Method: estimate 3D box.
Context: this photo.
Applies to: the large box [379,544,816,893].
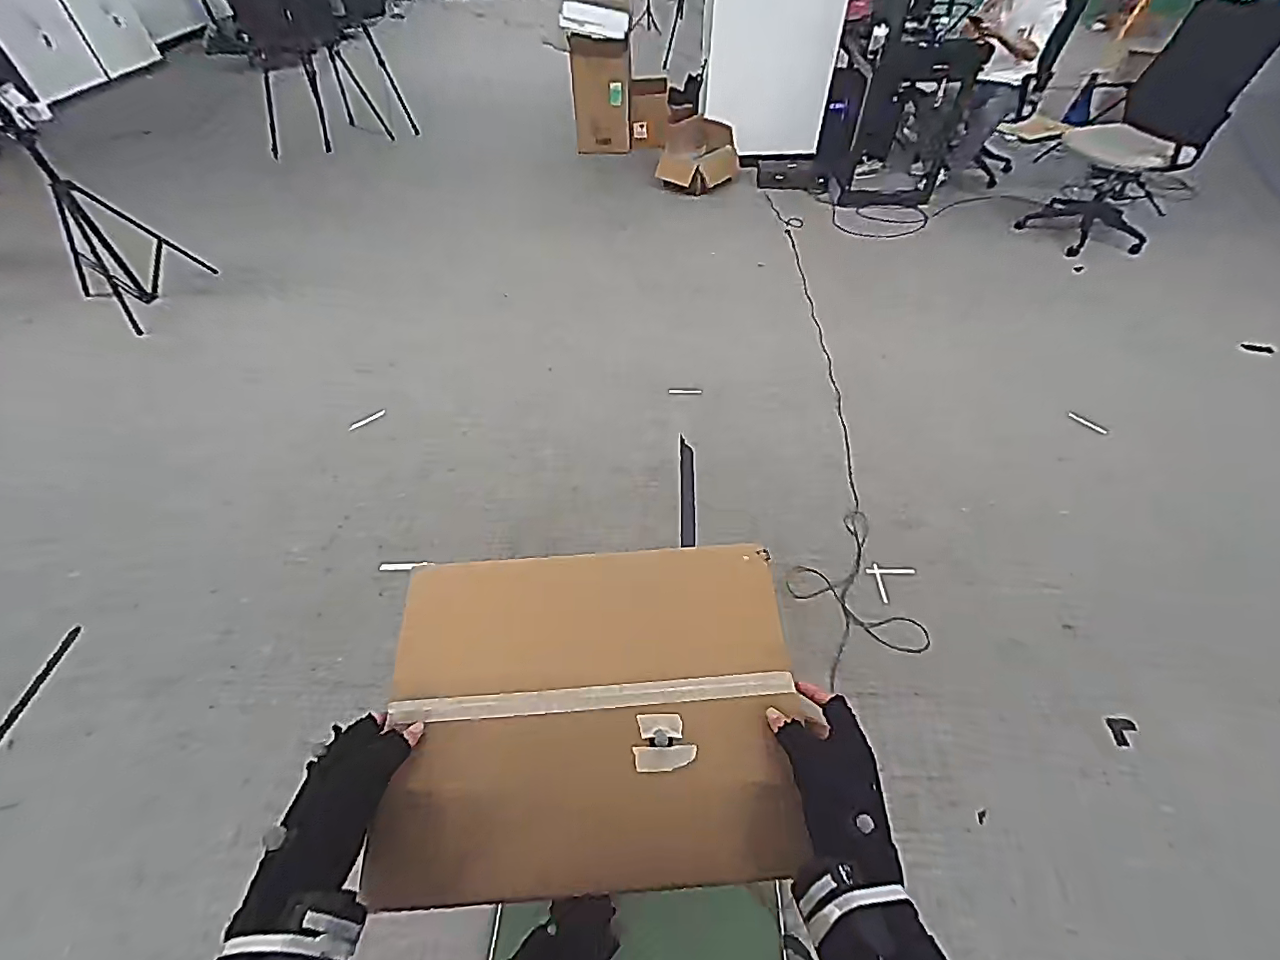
[{"bbox_3d":[-0.048,0.300,0.687,0.408,0.320,0.320,-3,58,-2],"label":"large box"}]
